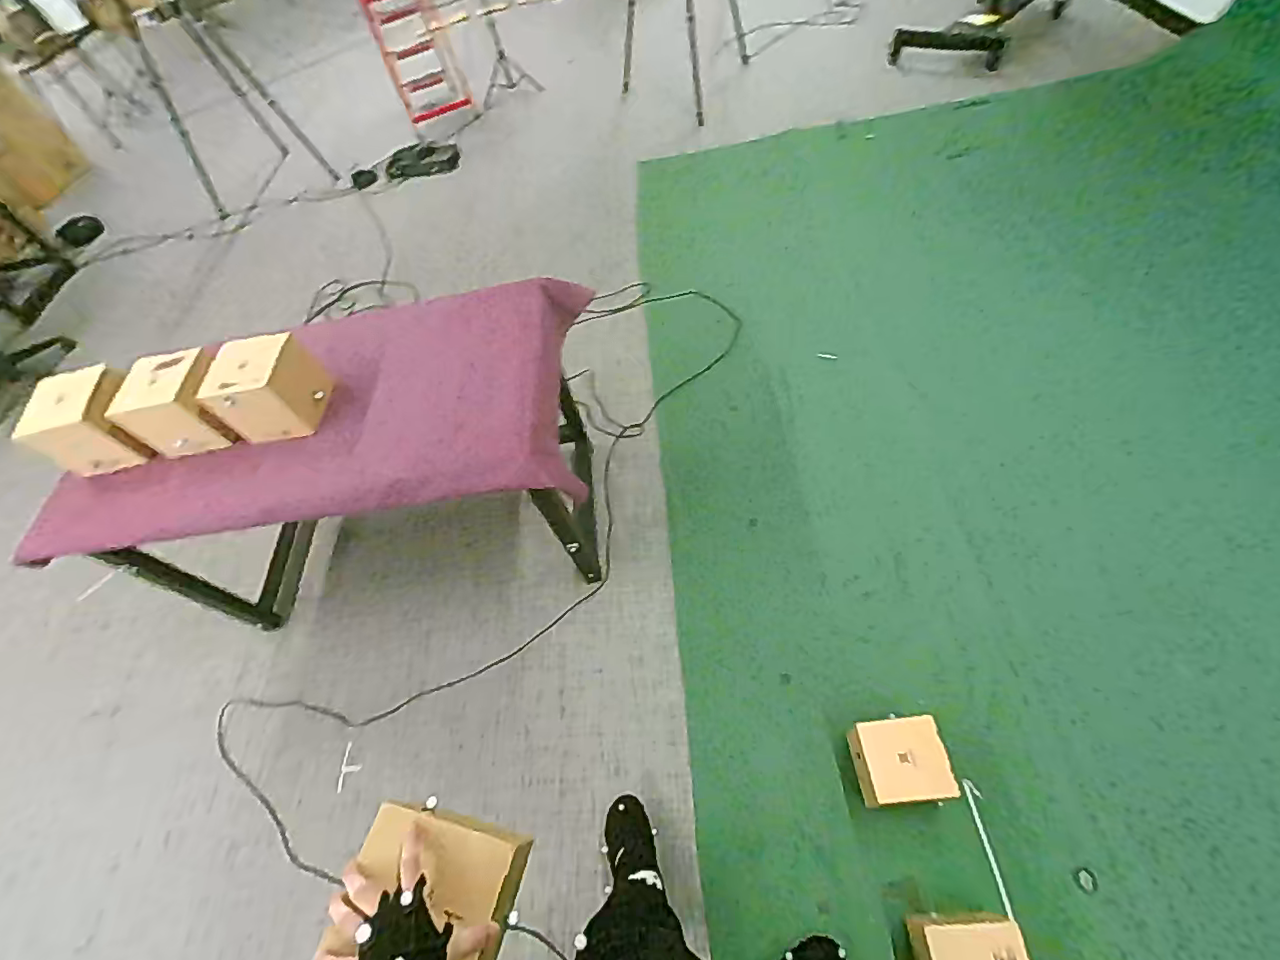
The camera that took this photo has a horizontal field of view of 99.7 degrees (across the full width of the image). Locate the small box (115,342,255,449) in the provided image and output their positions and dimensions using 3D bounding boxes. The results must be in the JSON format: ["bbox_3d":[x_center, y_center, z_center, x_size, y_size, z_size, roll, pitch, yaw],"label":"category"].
[{"bbox_3d":[-1.075,-0.199,1.297,0.168,0.176,0.179,-10,57,6],"label":"small box"}]

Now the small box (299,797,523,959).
[{"bbox_3d":[-0.266,0.517,0.678,0.179,0.176,0.168,14,60,6],"label":"small box"}]

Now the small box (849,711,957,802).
[{"bbox_3d":[0.604,0.654,1.273,0.179,0.176,0.168,-9,56,5],"label":"small box"}]

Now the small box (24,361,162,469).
[{"bbox_3d":[-1.298,-0.155,1.315,0.168,0.176,0.179,-14,57,4],"label":"small box"}]
